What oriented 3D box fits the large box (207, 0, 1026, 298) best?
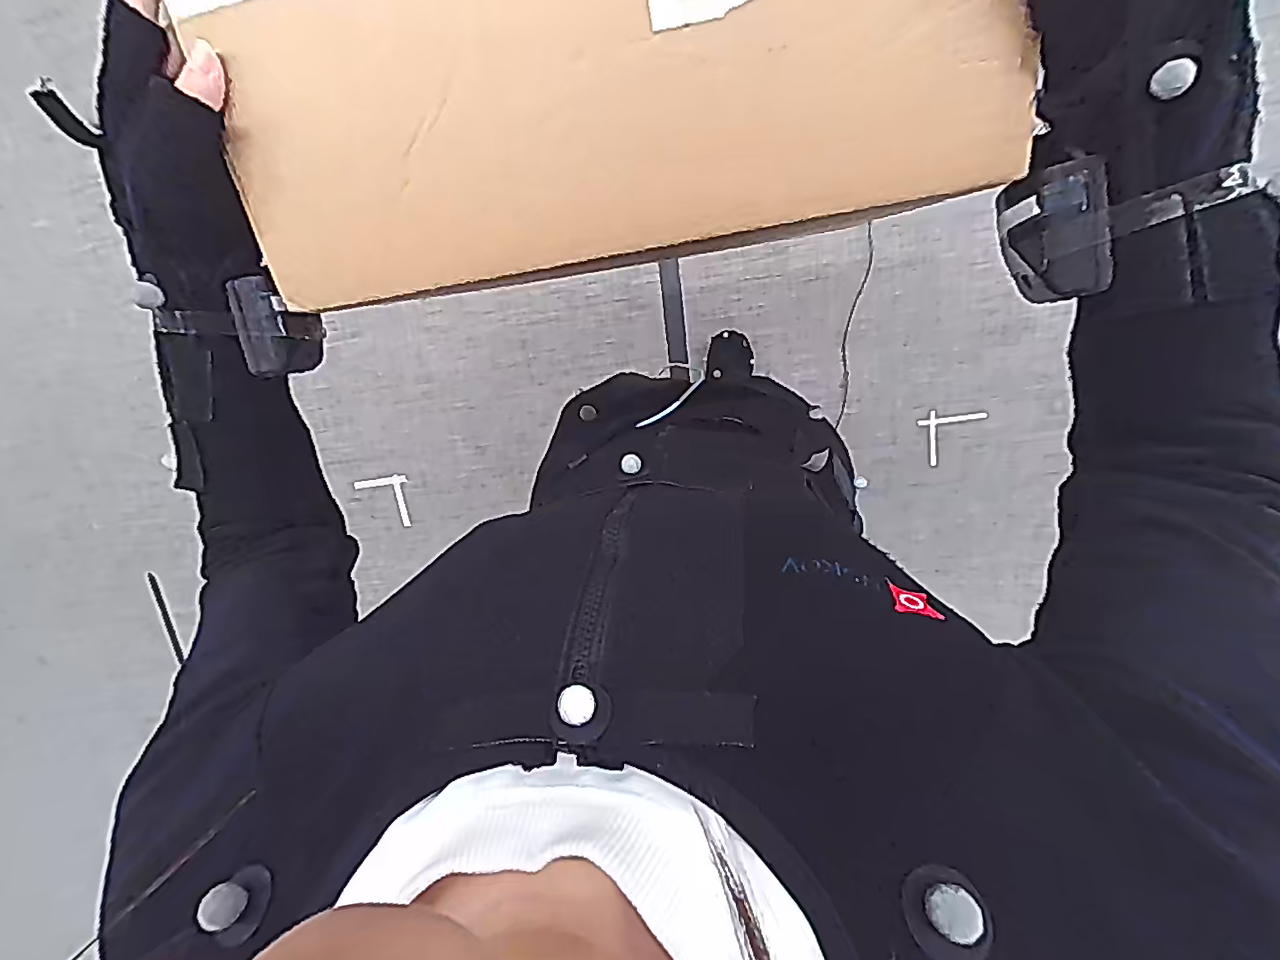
[{"bbox_3d":[-0.017,-0.333,0.384,0.408,0.320,0.320,-6,112,11],"label":"large box"}]
